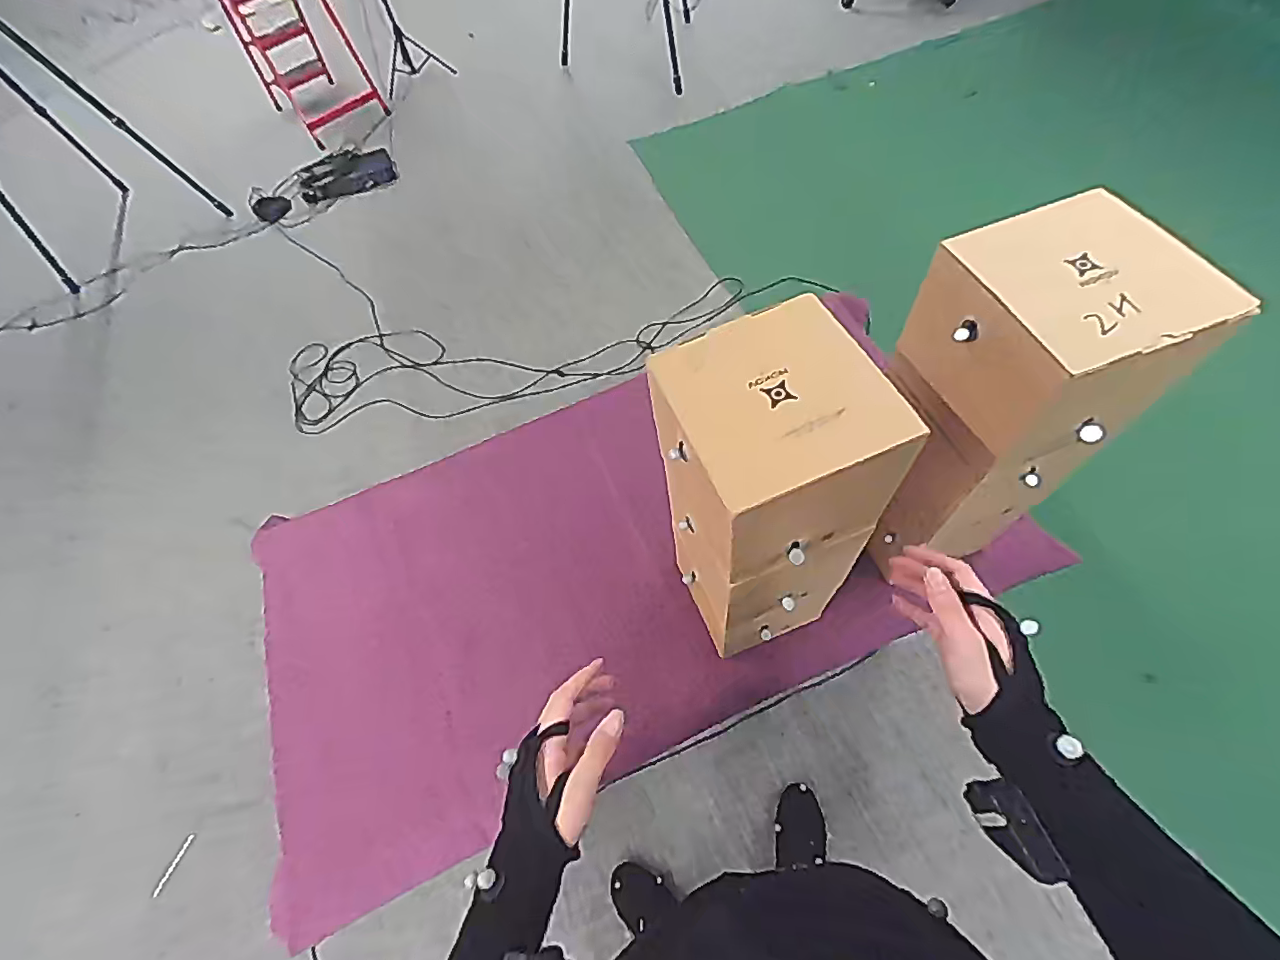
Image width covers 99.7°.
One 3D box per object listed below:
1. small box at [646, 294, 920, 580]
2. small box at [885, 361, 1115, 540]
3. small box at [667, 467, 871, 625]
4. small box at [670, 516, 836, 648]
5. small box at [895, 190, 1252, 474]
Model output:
[{"bbox_3d":[0.116,-0.034,0.509,0.168,0.176,0.179,-22,60,-4],"label":"small box"},{"bbox_3d":[0.401,-0.054,0.666,0.168,0.176,0.179,-20,60,-2],"label":"small box"},{"bbox_3d":[0.138,0.047,0.648,0.168,0.176,0.179,-22,60,-4],"label":"small box"},{"bbox_3d":[0.157,0.130,0.789,0.168,0.176,0.179,-22,59,-4],"label":"small box"},{"bbox_3d":[0.381,-0.135,0.524,0.168,0.176,0.179,-19,61,-2],"label":"small box"}]
